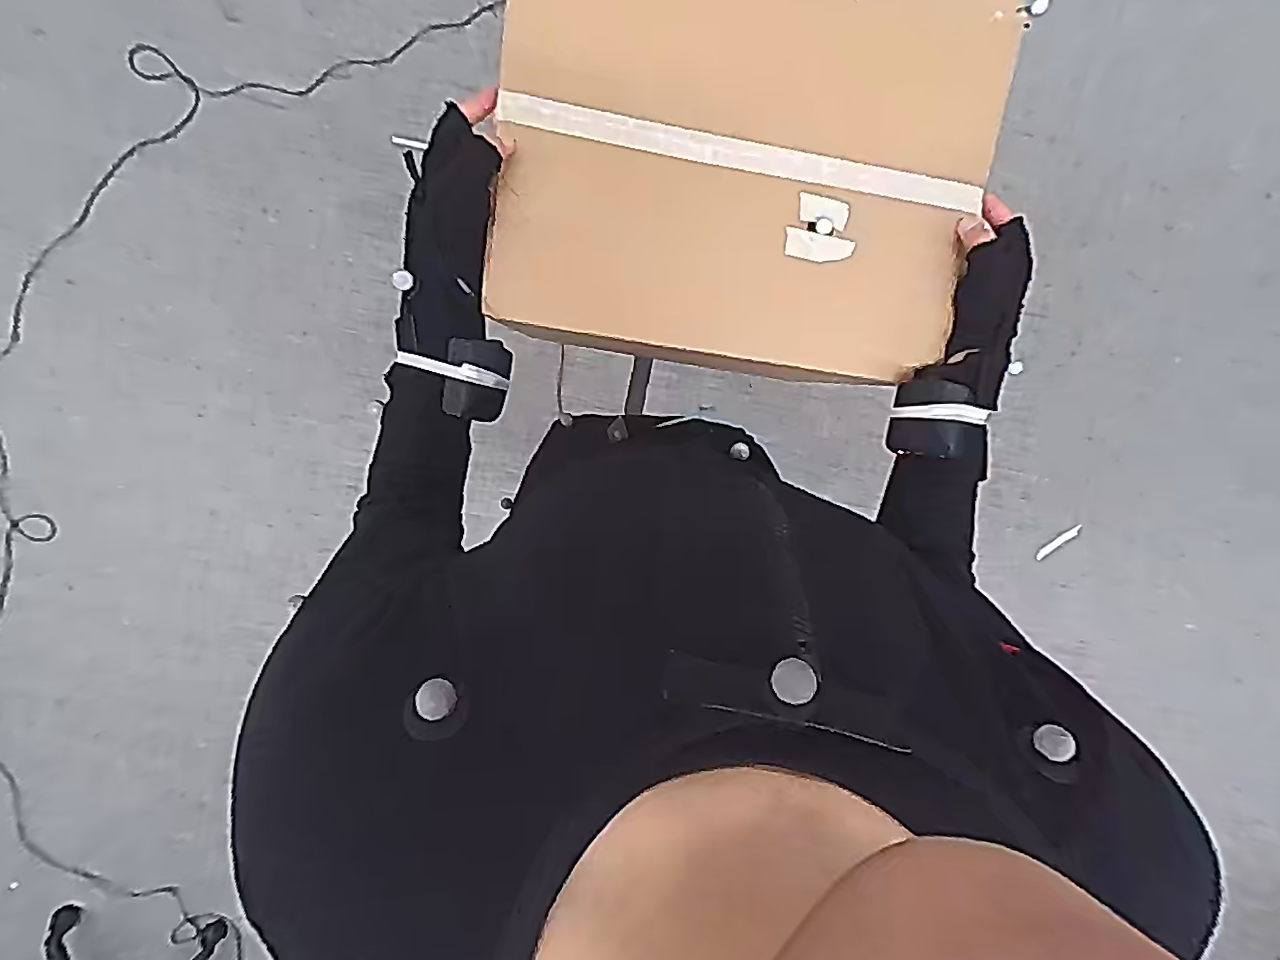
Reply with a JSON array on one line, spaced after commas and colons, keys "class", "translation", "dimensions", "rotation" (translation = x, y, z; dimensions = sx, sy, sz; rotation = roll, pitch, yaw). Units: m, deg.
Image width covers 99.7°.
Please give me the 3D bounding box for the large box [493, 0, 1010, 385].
[{"class": "large box", "translation": [0.075, -0.289, 0.594], "dimensions": [0.408, 0.320, 0.320], "rotation": [8, 102, -8]}]
